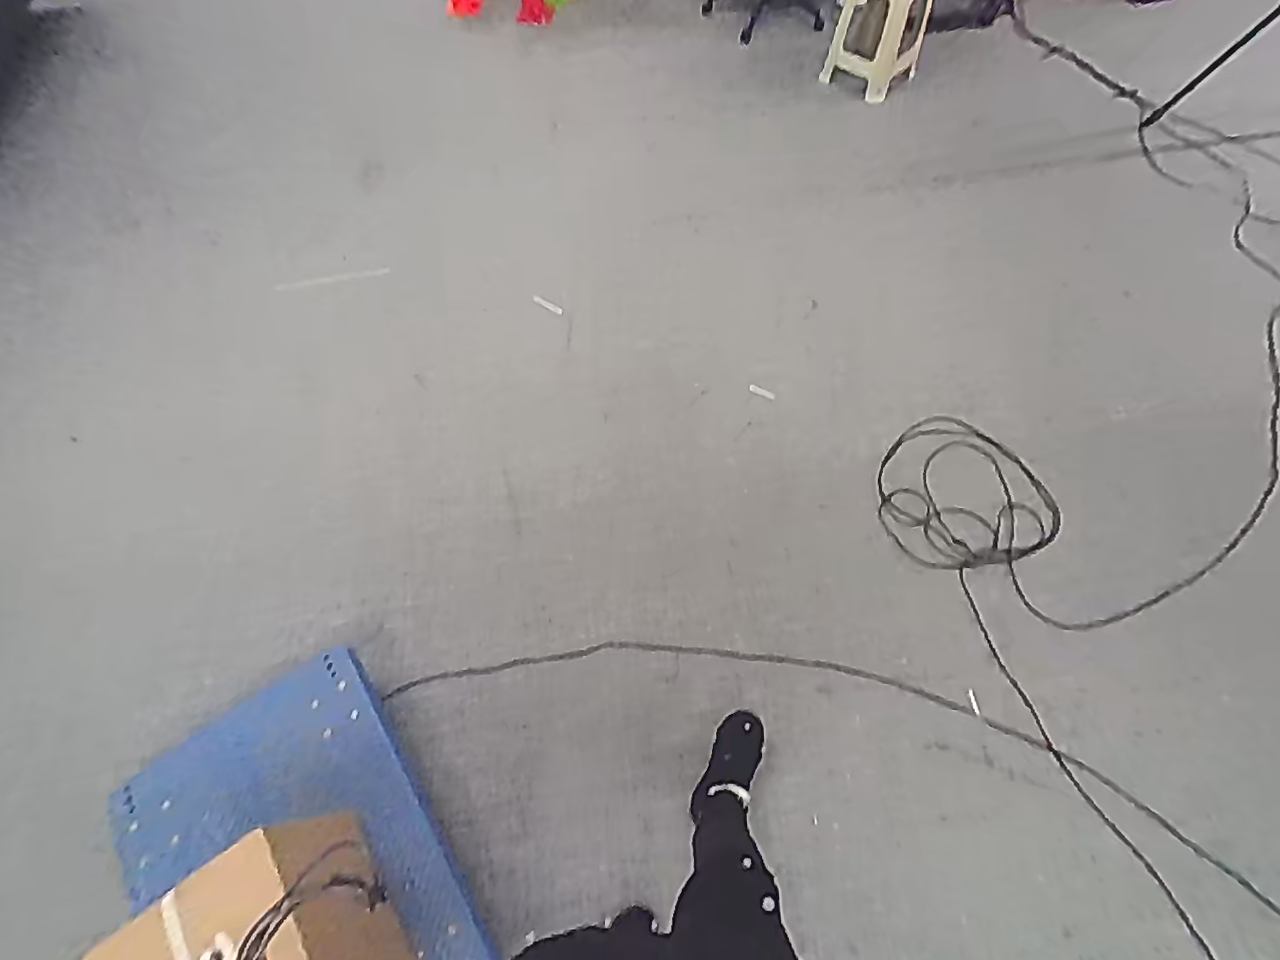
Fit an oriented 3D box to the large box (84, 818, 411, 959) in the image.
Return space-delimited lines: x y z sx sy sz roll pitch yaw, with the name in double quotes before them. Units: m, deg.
"large box" -0.639 0.887 0.936 0.320 0.320 0.408 -34 65 -15
